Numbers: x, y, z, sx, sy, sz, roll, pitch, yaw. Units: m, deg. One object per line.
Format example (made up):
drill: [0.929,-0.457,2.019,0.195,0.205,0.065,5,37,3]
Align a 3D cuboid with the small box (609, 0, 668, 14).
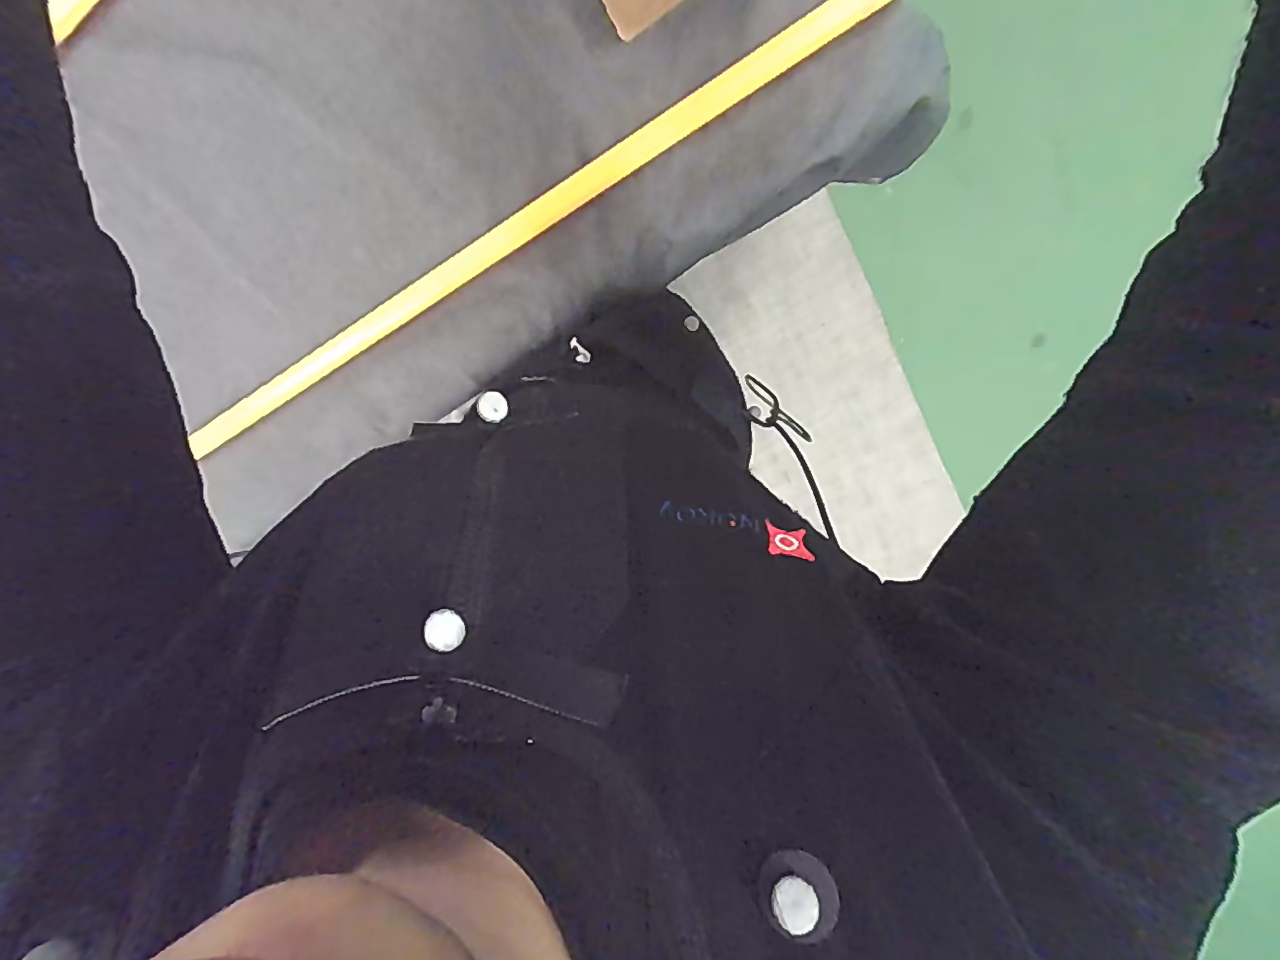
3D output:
small box: [0.009,-0.450,0.343,0.168,0.176,0.179,-27,107,16]
